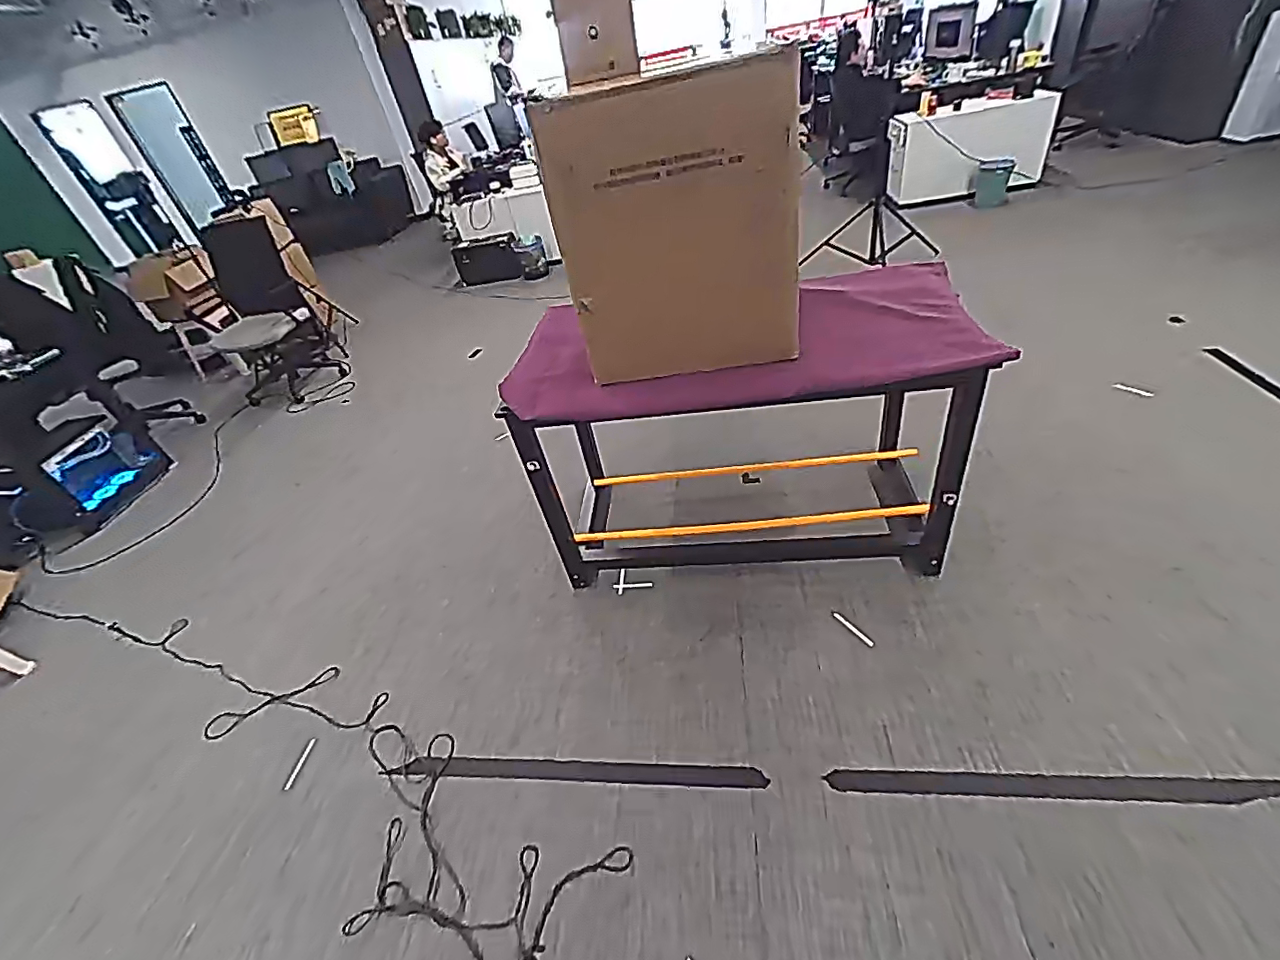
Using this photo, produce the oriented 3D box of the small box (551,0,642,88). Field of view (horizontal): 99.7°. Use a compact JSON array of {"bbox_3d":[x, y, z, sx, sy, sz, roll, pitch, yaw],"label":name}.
[{"bbox_3d":[-0.091,-0.972,1.177,0.168,0.176,0.179,-8,39,3],"label":"small box"}]
